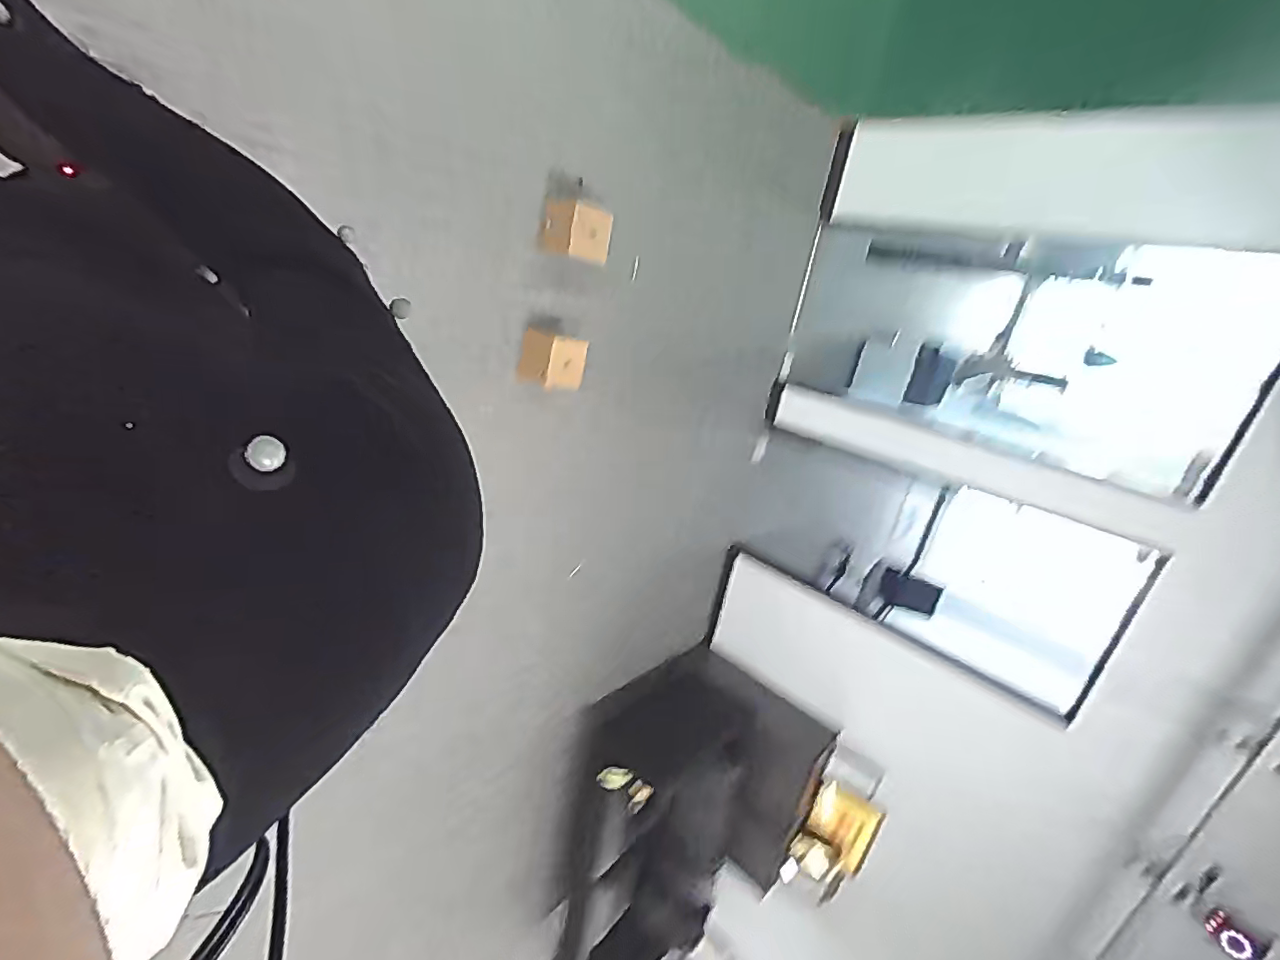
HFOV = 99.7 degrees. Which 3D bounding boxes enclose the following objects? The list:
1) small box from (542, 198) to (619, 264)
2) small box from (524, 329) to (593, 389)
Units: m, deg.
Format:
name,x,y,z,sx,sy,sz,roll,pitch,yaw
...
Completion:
name,x,y,z,sx,sy,sz,roll,pitch,yaw
small box,-0.203,-0.842,1.826,0.179,0.176,0.168,-9,118,-48
small box,-0.299,-0.439,1.959,0.168,0.176,0.179,-9,119,-48
